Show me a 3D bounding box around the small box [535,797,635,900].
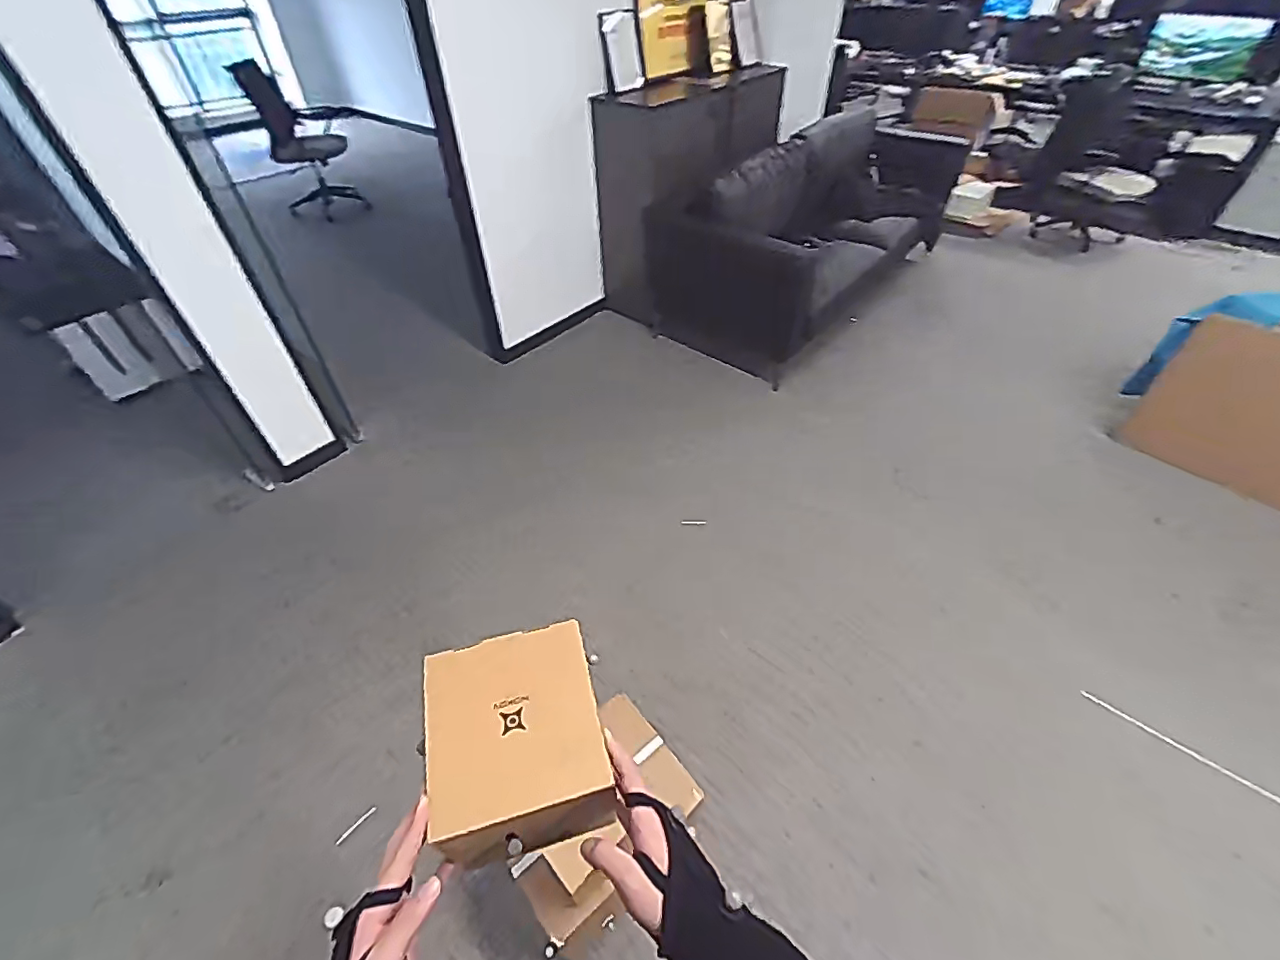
[{"bbox_3d":[-0.125,0.693,1.074,0.168,0.176,0.179,-33,55,-29],"label":"small box"}]

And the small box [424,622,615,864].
[{"bbox_3d":[-0.125,0.287,0.583,0.168,0.176,0.179,-11,48,-12],"label":"small box"}]
